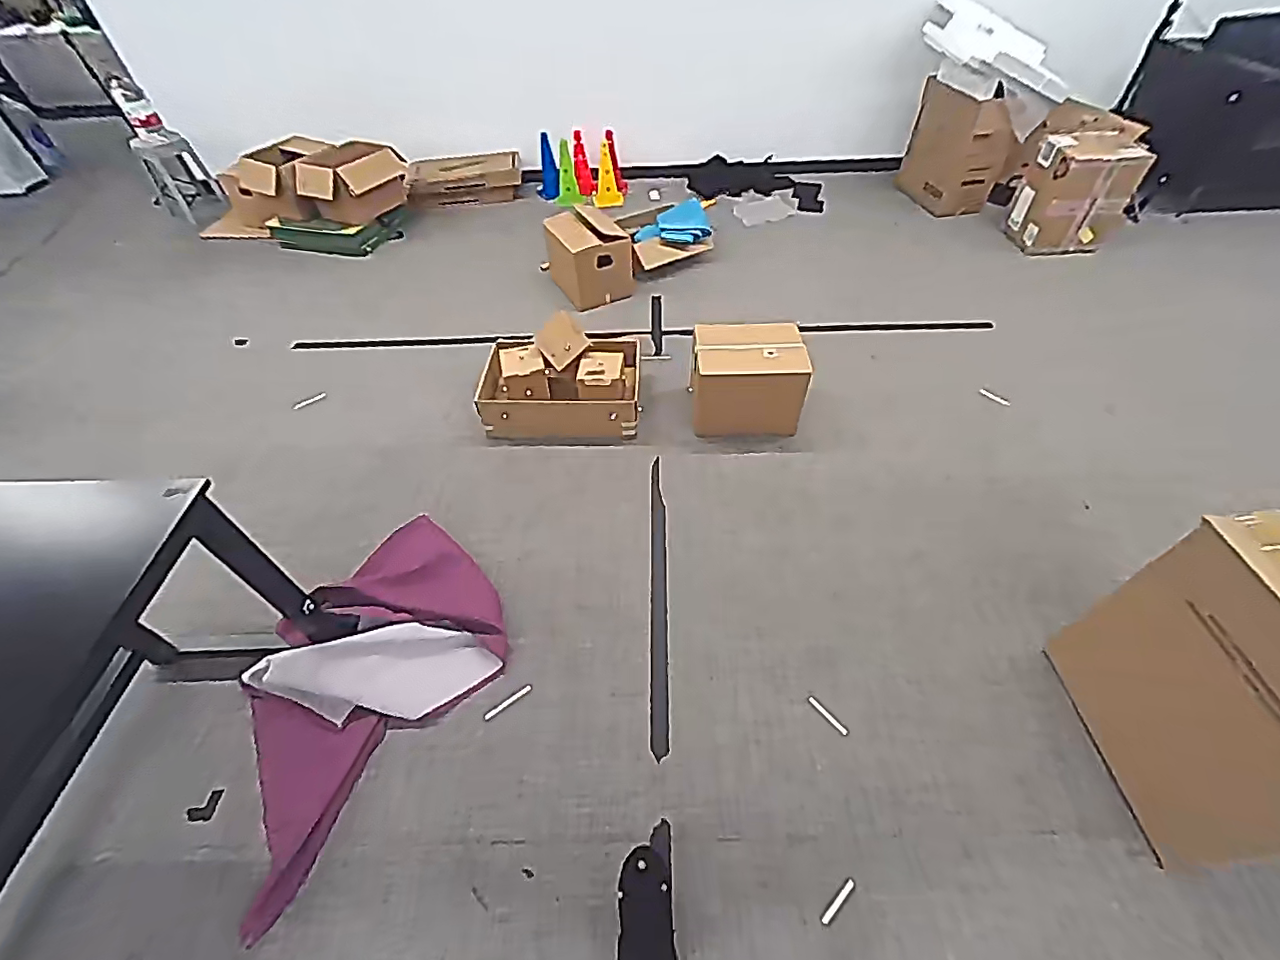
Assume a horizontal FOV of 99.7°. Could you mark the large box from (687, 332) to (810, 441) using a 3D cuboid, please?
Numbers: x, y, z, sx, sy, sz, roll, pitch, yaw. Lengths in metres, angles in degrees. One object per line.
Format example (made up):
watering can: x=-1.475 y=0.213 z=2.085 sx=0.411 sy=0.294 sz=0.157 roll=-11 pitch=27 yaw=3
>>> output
large box: x=0.406 y=-0.367 z=2.129 sx=0.408 sy=0.320 sz=0.320 roll=-1 pitch=49 yaw=0
